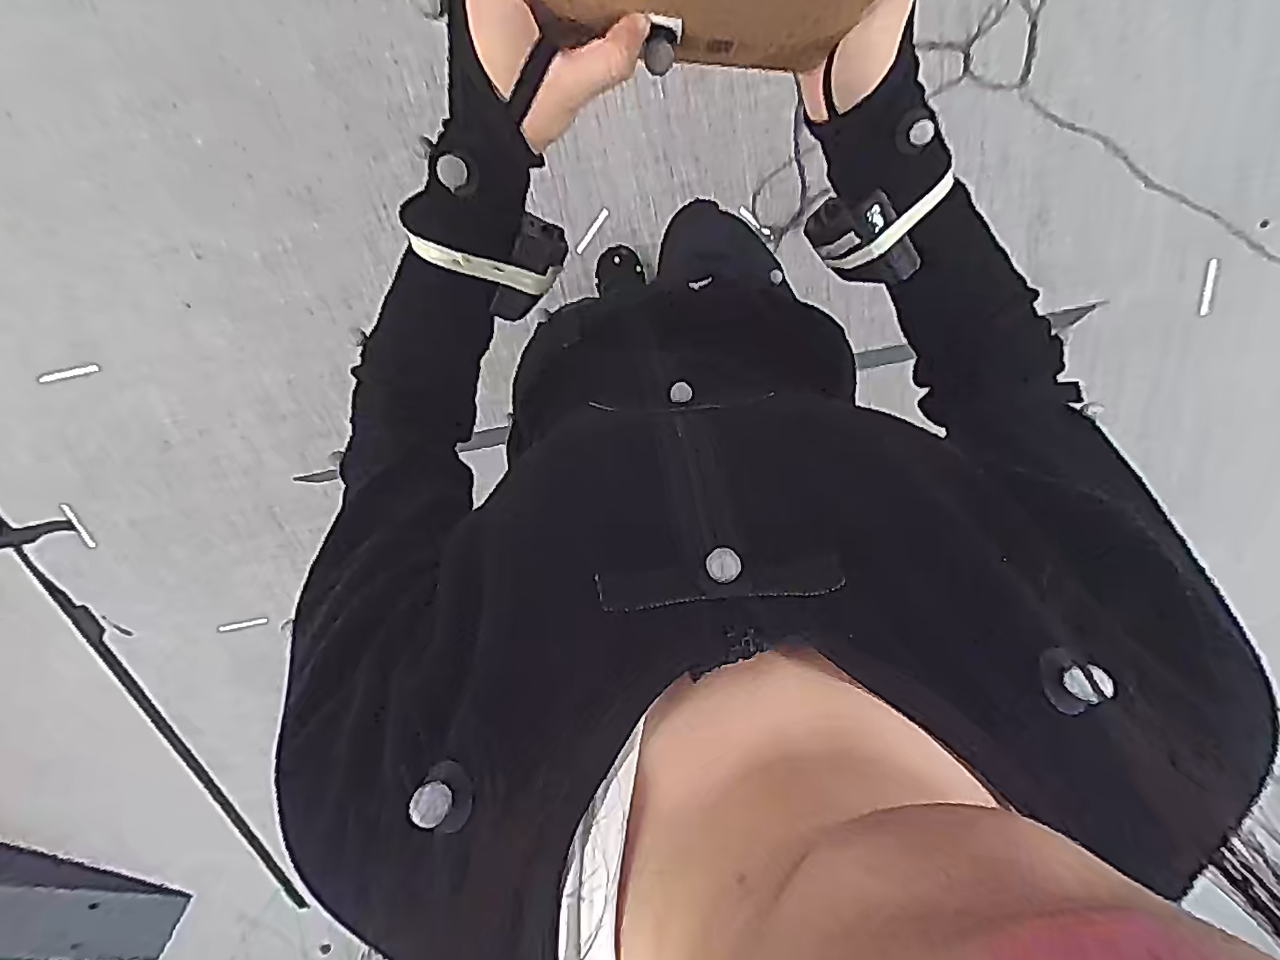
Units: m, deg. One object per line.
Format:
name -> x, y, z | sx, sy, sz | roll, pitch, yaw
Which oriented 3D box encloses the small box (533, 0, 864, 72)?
small box -> 0.028, -0.302, 0.212 | 0.168, 0.176, 0.179 | 0, 108, -4
